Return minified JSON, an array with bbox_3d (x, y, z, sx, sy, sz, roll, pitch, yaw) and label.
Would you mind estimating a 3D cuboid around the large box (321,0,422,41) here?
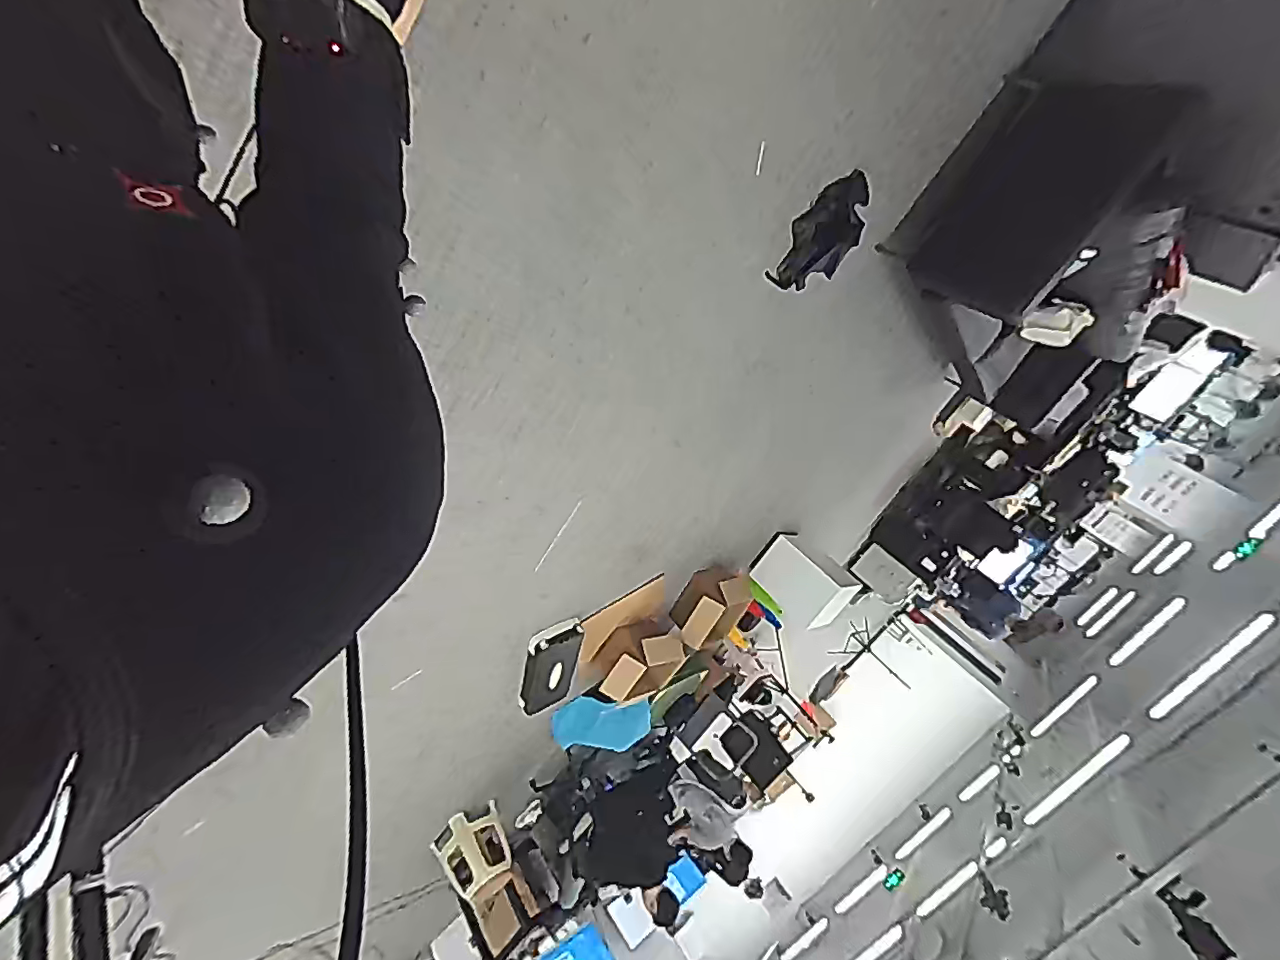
[{"bbox_3d":[-0.480,-0.888,0.692,0.408,0.320,0.320,12,118,-54],"label":"large box"}]
